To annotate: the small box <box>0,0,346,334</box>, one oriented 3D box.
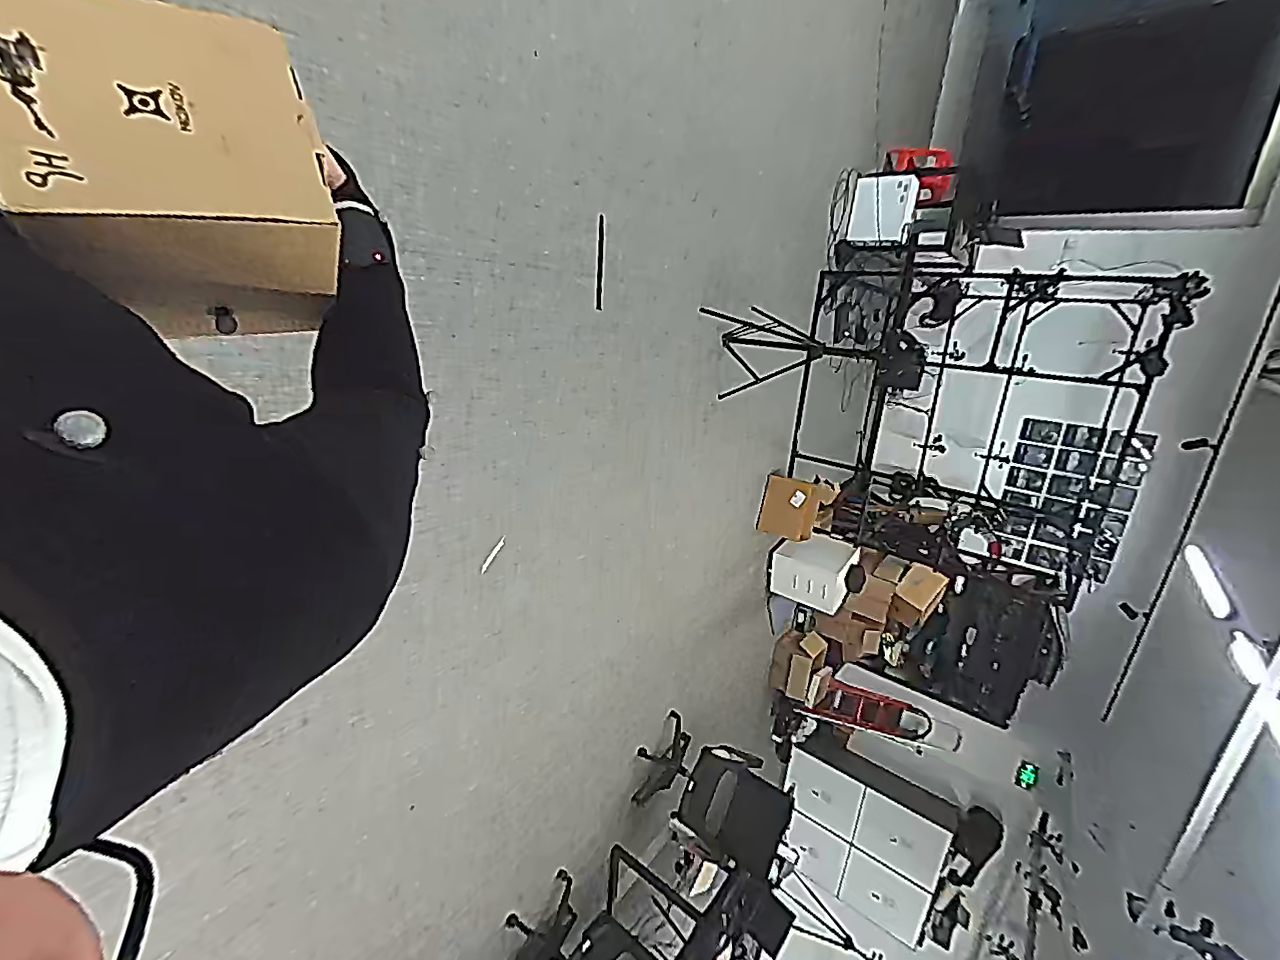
[{"bbox_3d":[-0.363,-0.234,0.444,0.179,0.176,0.168,-15,84,-34],"label":"small box"}]
